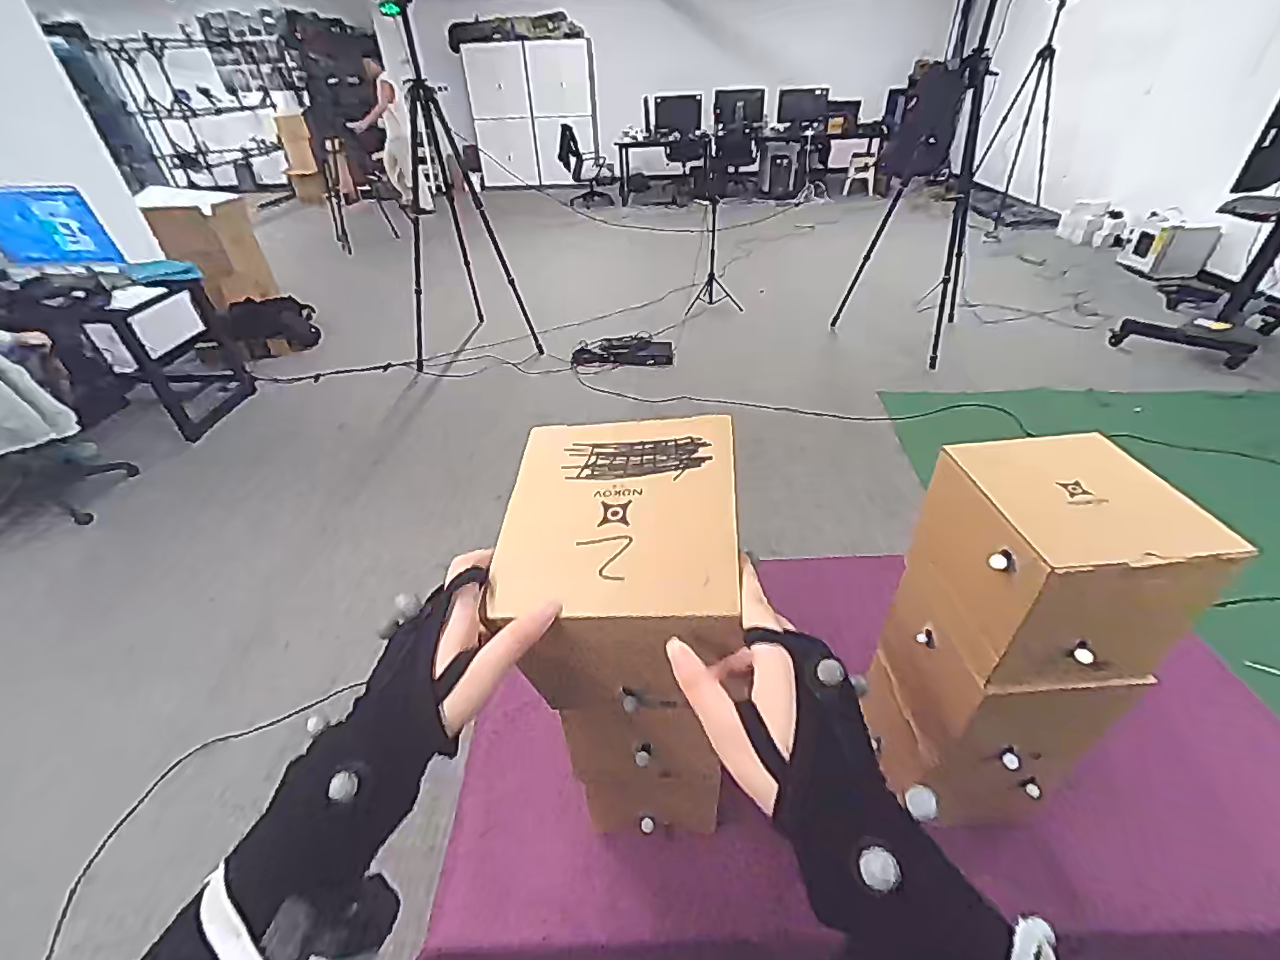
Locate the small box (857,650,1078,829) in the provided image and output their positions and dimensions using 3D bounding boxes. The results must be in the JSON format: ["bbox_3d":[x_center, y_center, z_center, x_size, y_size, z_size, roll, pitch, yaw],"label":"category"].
[{"bbox_3d":[0.417,0.346,0.726,0.179,0.176,0.168,-2,37,1],"label":"small box"}]

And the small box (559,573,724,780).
[{"bbox_3d":[0.008,0.230,0.635,0.168,0.176,0.179,0,38,3],"label":"small box"}]

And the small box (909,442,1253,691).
[{"bbox_3d":[0.399,0.082,0.537,0.168,0.176,0.179,-4,38,-1],"label":"small box"}]

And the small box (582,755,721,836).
[{"bbox_3d":[0.018,0.356,0.741,0.168,0.176,0.179,-1,38,3],"label":"small box"}]

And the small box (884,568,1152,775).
[{"bbox_3d":[0.409,0.215,0.630,0.168,0.176,0.179,-3,38,1],"label":"small box"}]
